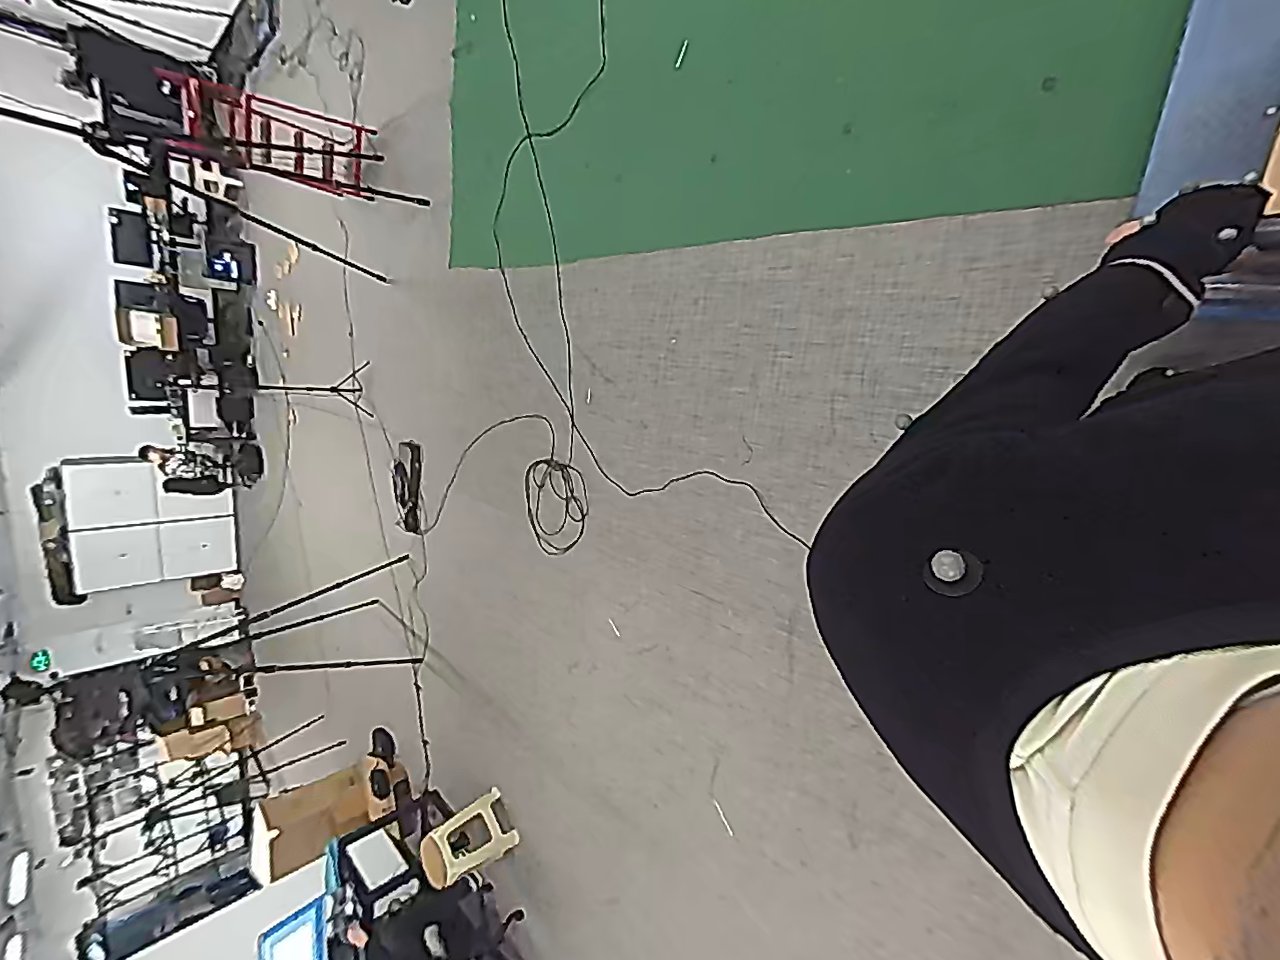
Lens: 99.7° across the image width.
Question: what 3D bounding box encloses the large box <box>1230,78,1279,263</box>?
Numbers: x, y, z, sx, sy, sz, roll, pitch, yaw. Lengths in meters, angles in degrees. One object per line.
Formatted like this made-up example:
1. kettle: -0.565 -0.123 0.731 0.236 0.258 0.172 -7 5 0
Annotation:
1. large box: 1.111 -0.552 0.754 0.320 0.320 0.408 17 105 40
